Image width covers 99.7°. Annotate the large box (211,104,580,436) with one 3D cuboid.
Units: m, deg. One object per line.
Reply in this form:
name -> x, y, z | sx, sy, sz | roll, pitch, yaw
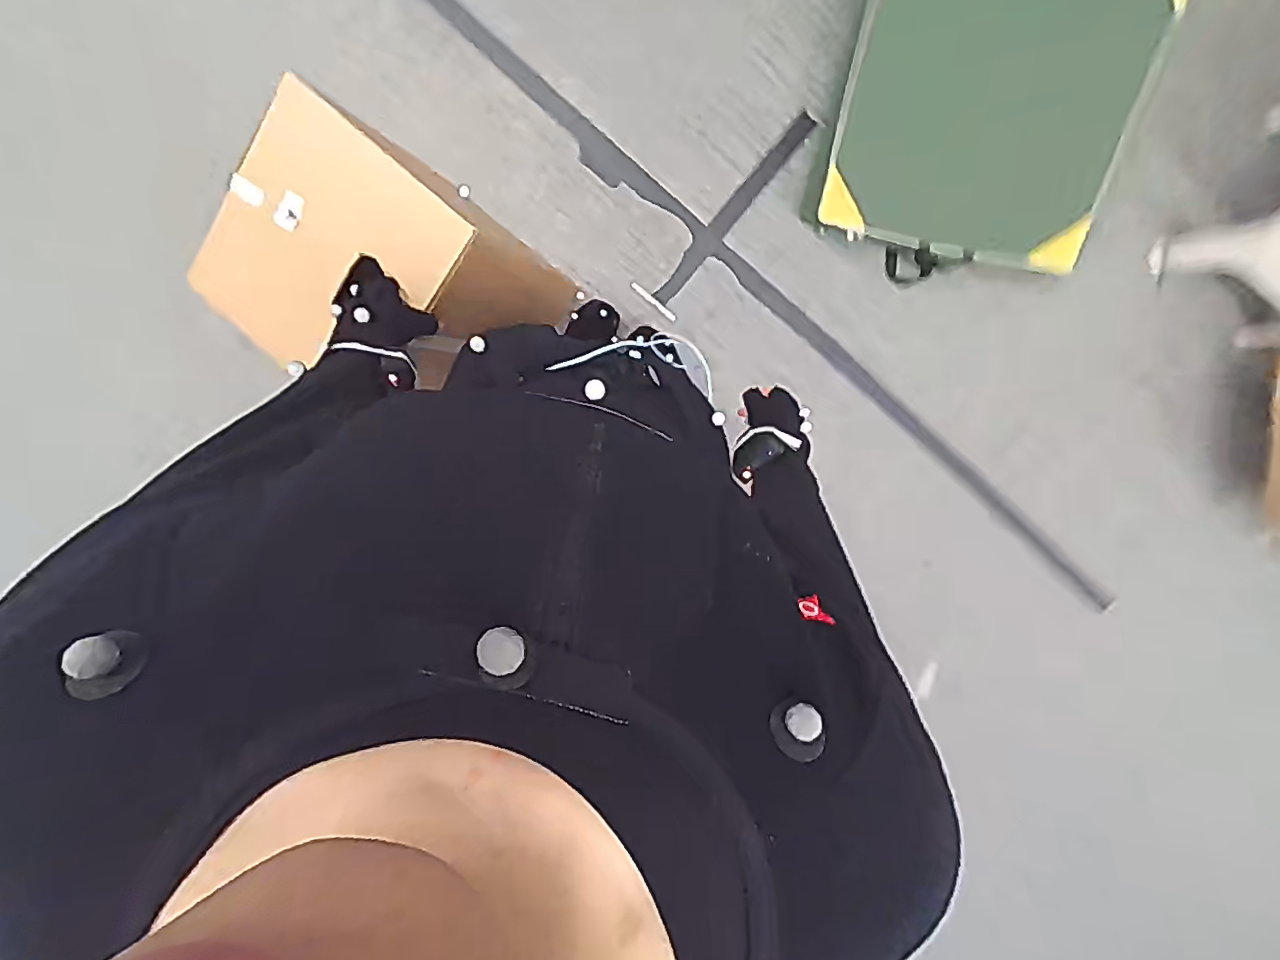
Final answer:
large box -> -0.362, -0.306, 0.892 | 0.320, 0.408, 0.320 | 41, 106, 1
